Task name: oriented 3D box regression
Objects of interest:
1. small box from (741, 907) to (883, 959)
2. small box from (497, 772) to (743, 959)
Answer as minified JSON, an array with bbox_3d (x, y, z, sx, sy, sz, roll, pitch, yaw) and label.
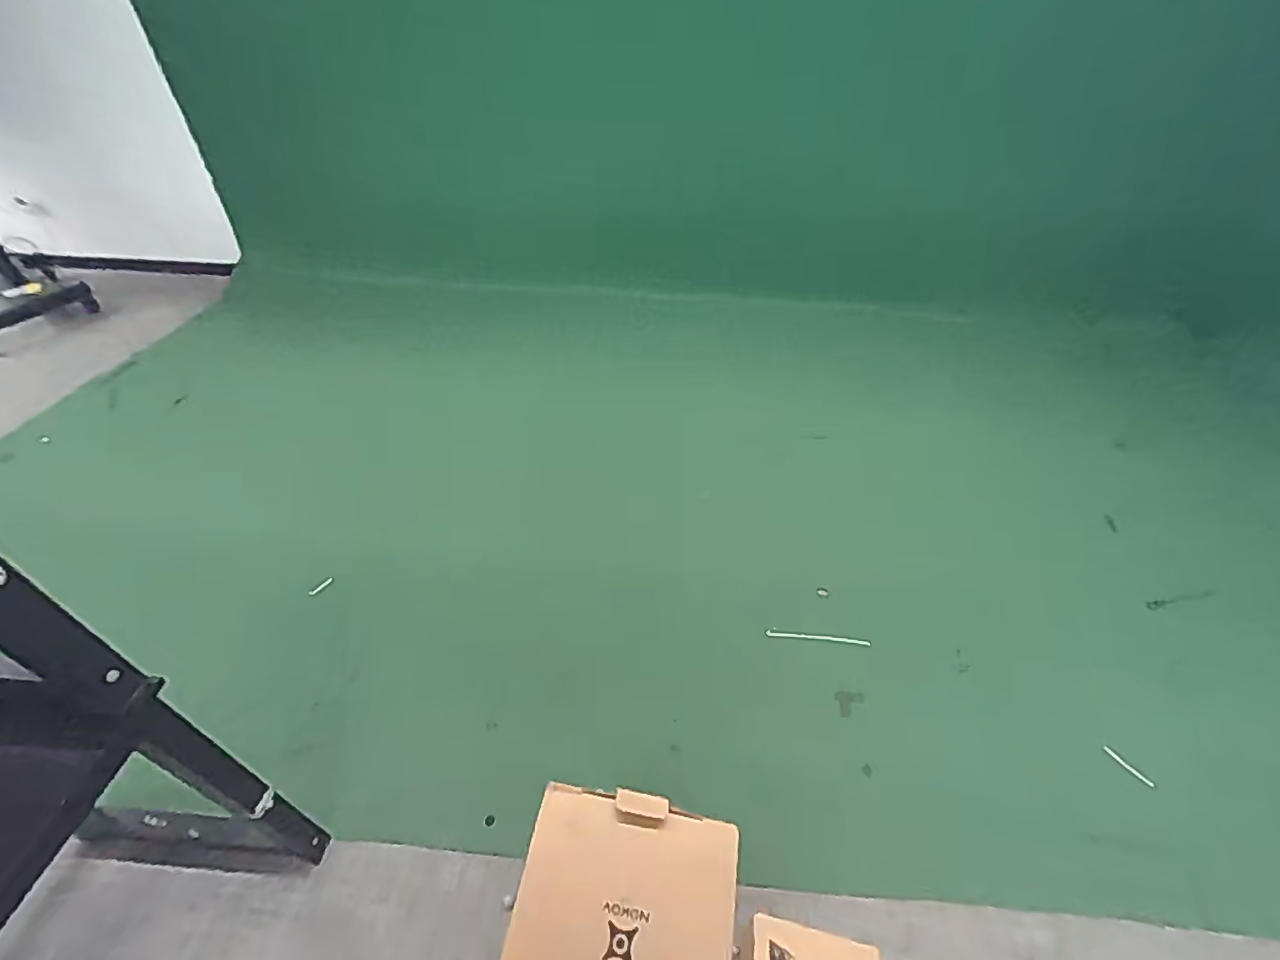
[{"bbox_3d":[0.234,0.744,0.765,0.179,0.176,0.168,10,44,9],"label":"small box"},{"bbox_3d":[-0.021,0.369,0.443,0.168,0.176,0.179,12,51,2],"label":"small box"}]
